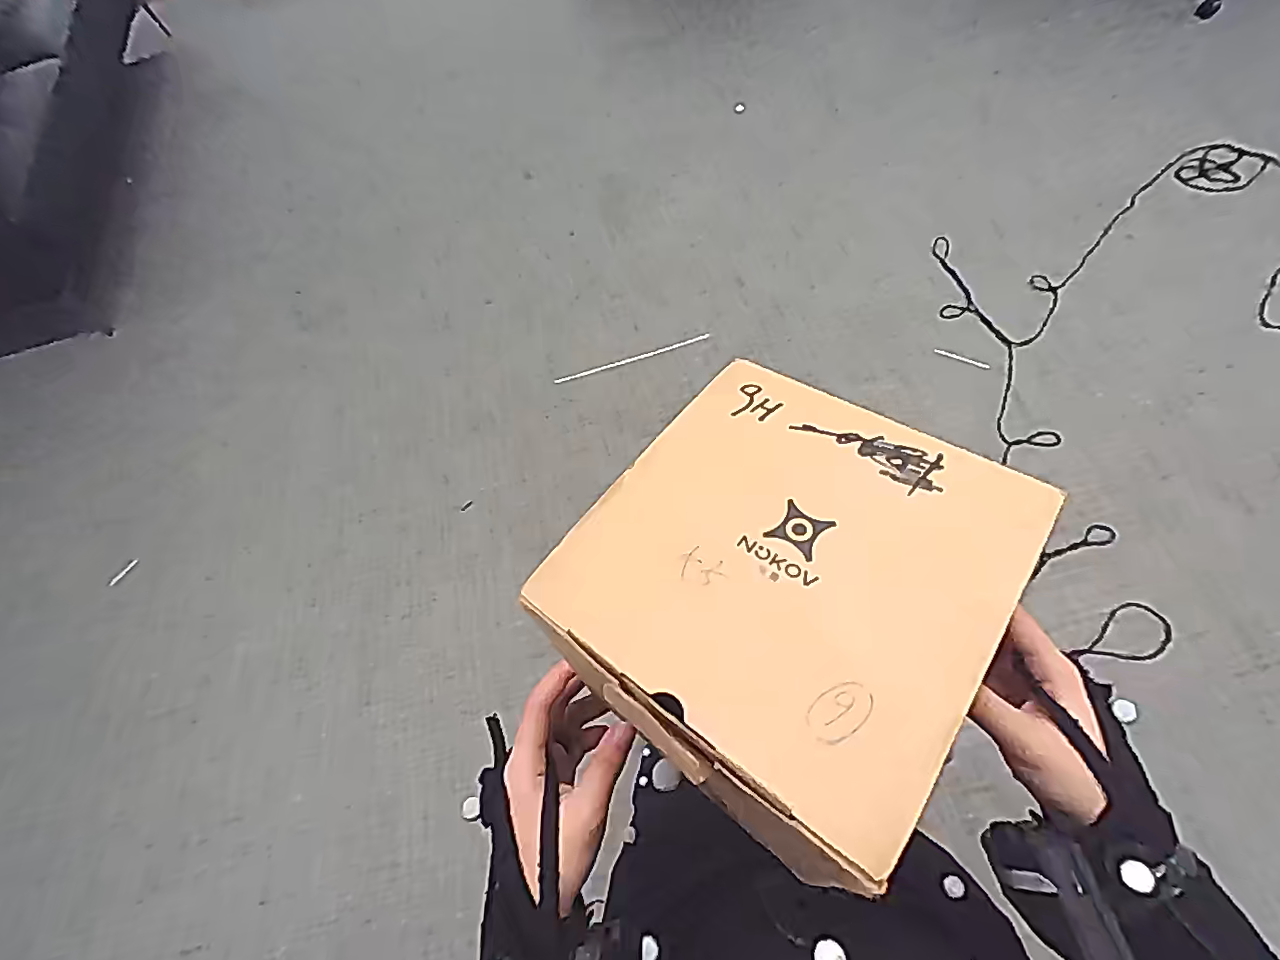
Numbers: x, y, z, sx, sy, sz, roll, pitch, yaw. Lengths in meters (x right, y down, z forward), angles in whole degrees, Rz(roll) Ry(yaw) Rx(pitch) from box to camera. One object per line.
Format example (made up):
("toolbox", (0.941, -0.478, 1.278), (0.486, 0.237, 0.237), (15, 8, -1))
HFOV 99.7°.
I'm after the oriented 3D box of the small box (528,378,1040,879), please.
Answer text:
("small box", (0.073, 0.082, 0.307), (0.168, 0.176, 0.179), (30, 65, 27))
